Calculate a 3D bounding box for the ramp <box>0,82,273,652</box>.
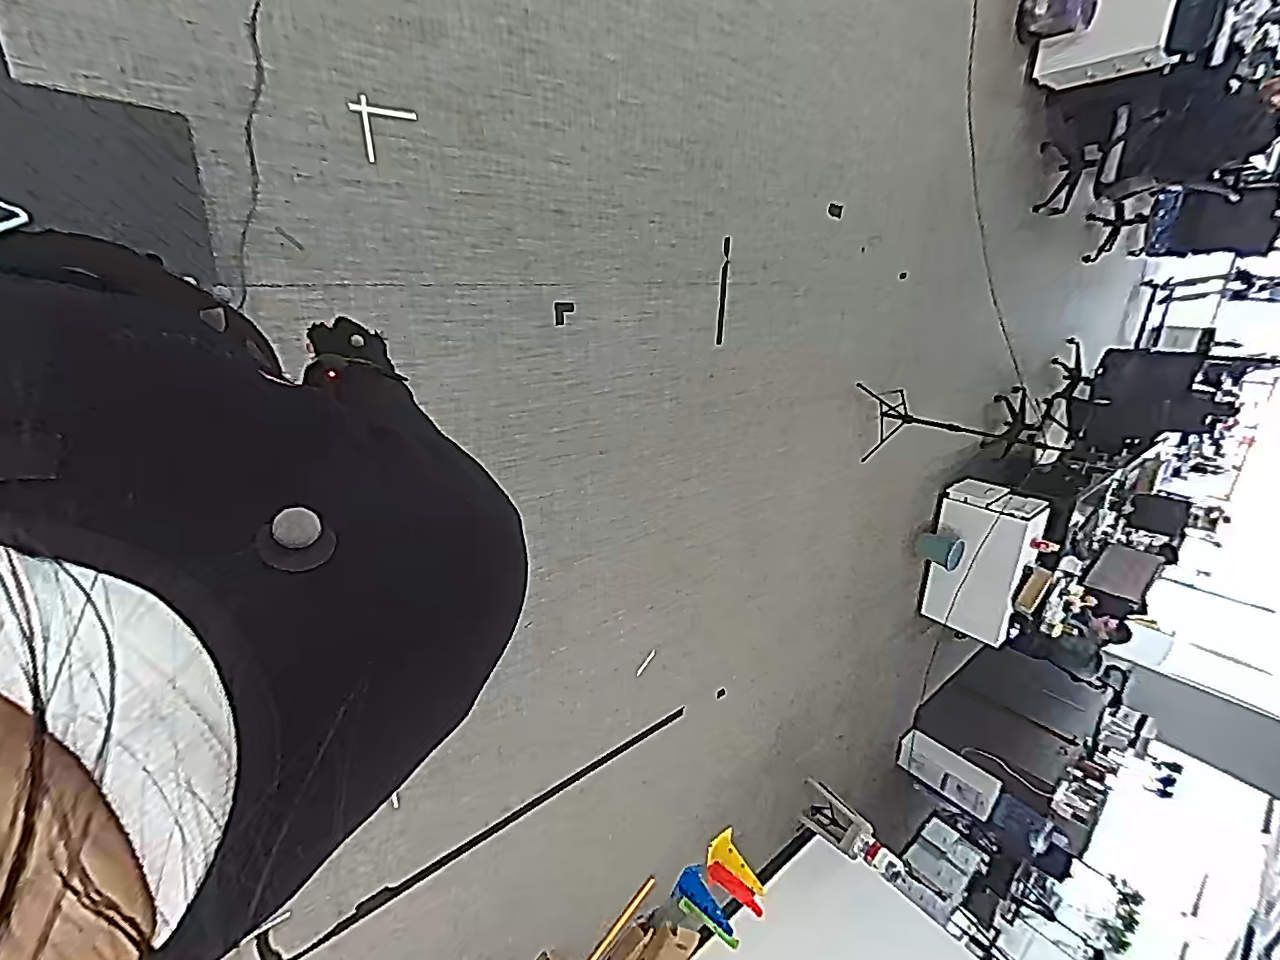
[{"bbox_3d":[-1.077,-0.202,1.021,0.509,0.206,0.991,-13,113,-36],"label":"ramp"}]
